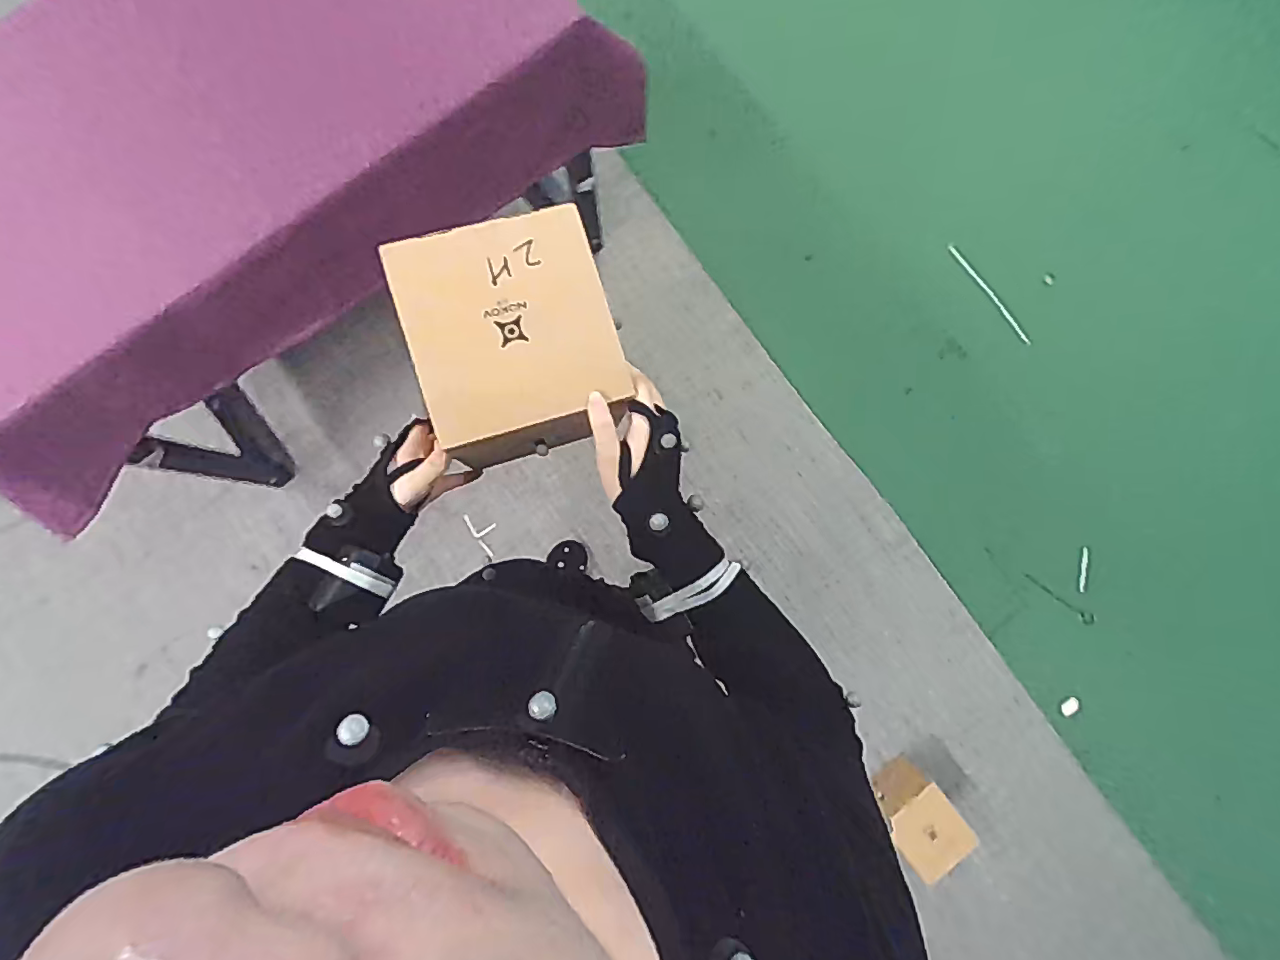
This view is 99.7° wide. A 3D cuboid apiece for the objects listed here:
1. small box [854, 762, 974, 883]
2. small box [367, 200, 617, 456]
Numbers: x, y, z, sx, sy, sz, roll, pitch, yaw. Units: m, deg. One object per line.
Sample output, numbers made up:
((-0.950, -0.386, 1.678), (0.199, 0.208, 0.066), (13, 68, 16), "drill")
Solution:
((0.679, 0.847, 1.366), (0.168, 0.176, 0.179), (-36, 85, -3), "small box")
((-0.129, -0.128, 0.524), (0.168, 0.176, 0.179), (-18, 88, -9), "small box")
